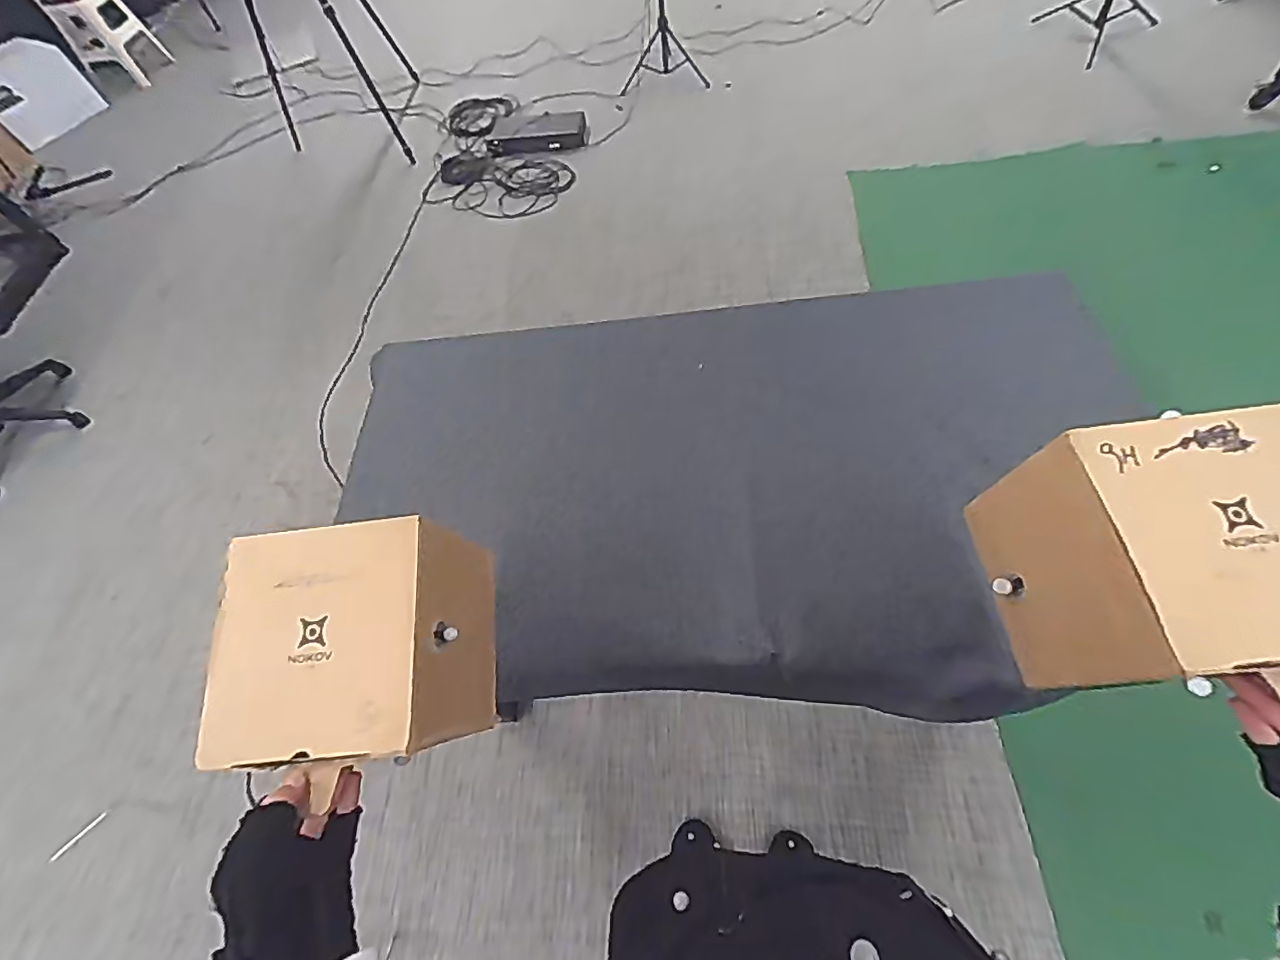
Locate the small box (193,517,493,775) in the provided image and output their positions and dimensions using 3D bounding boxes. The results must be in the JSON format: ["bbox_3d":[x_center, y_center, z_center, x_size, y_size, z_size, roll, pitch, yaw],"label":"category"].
[{"bbox_3d":[-0.238,0.144,0.482,0.168,0.176,0.179,-7,70,4],"label":"small box"}]
